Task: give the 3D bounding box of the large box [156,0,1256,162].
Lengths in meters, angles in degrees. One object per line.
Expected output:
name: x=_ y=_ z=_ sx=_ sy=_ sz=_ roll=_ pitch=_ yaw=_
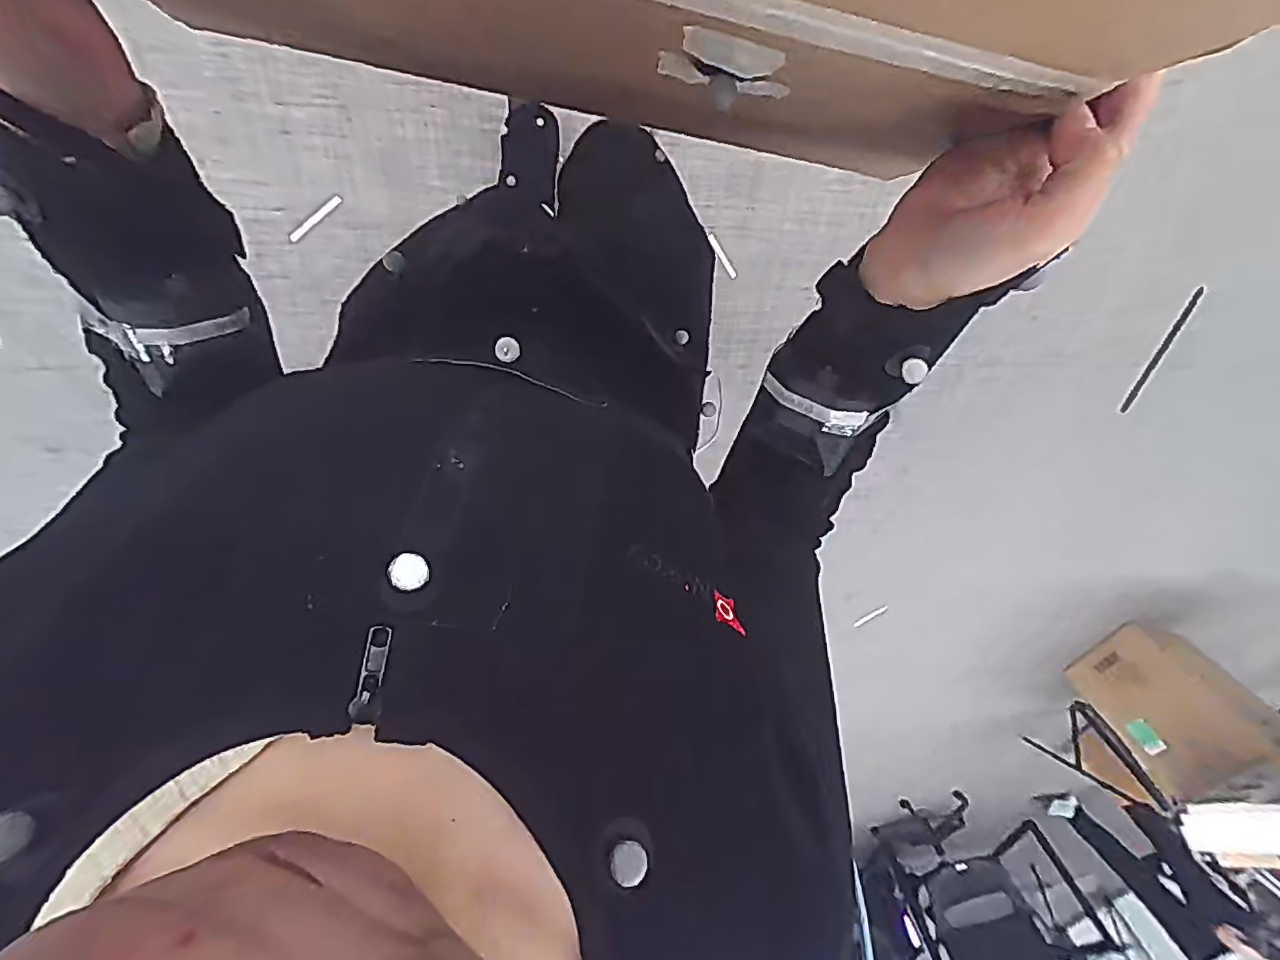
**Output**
large box: x=-0.005 y=-0.319 z=0.130 sx=0.408 sy=0.320 sz=0.320 roll=6 pitch=108 yaw=-8
